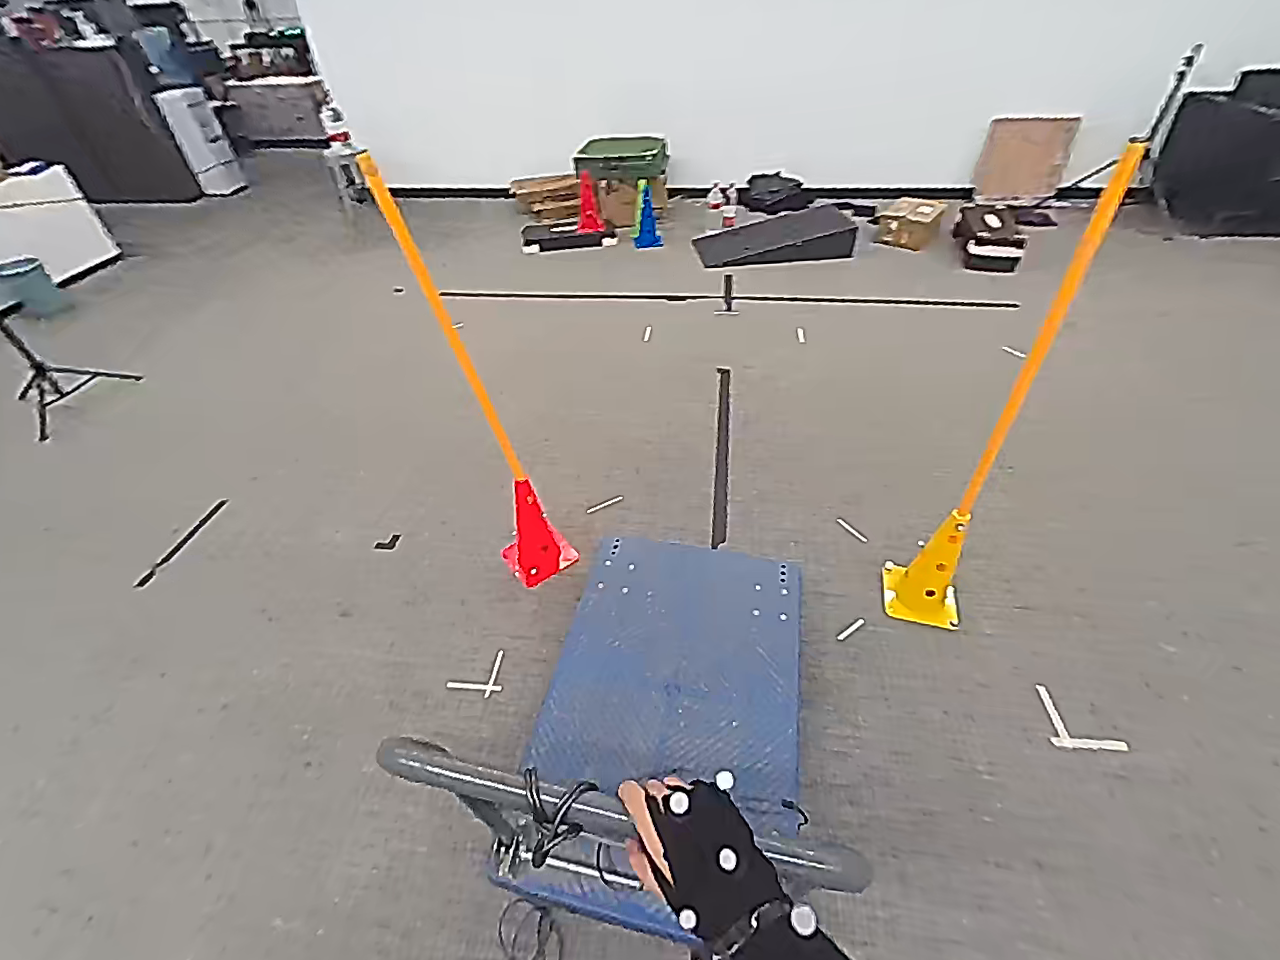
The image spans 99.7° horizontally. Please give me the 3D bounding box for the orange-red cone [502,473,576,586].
[{"bbox_3d":[-0.334,0.121,1.665,0.199,0.360,0.198,-28,49,-27],"label":"orange-red cone"}]
